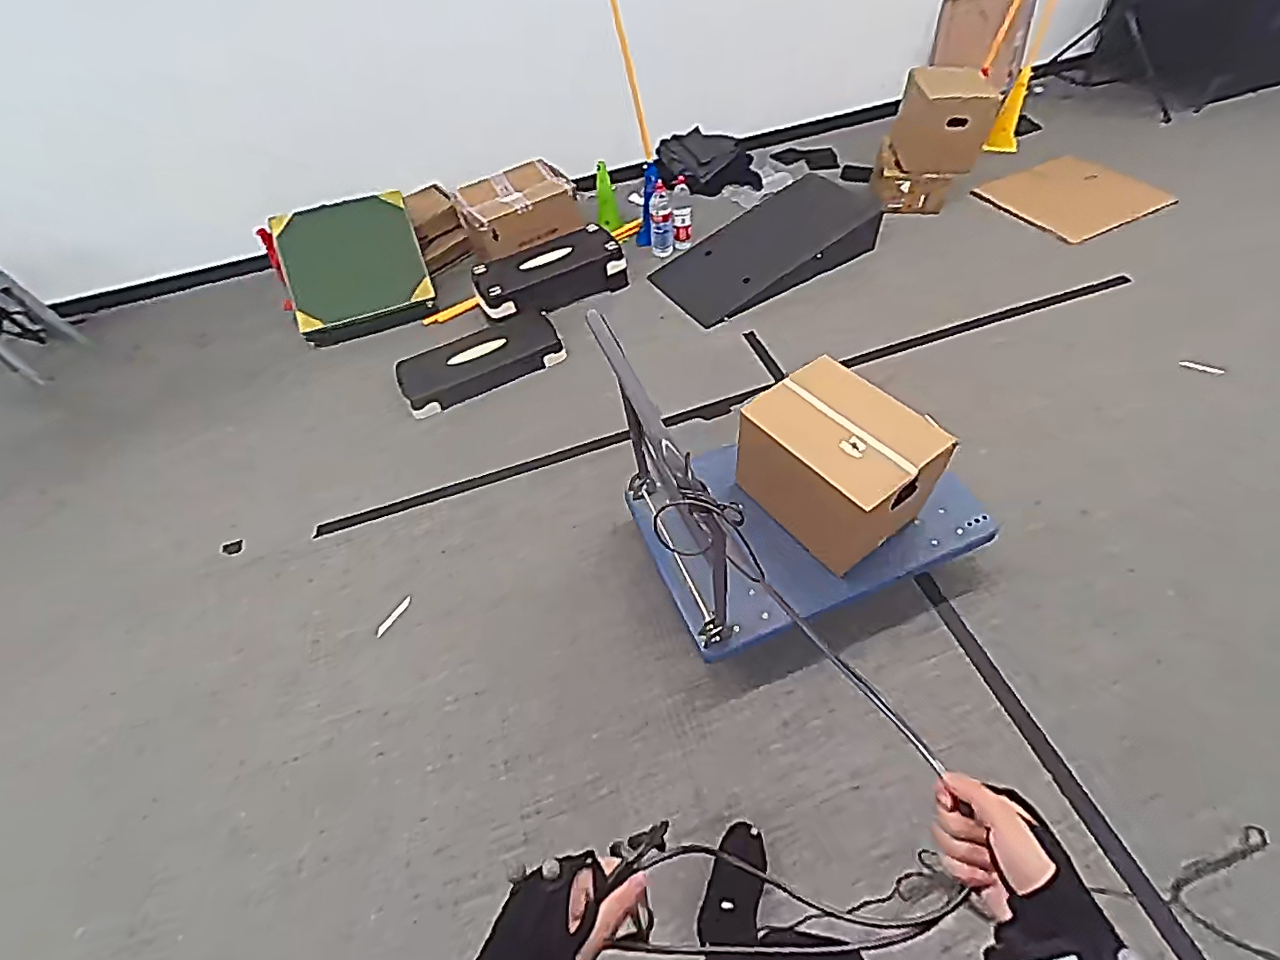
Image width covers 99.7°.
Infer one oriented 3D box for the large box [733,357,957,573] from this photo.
[{"bbox_3d":[0.495,-0.042,1.405,0.320,0.320,0.408,-33,58,-17],"label":"large box"}]
